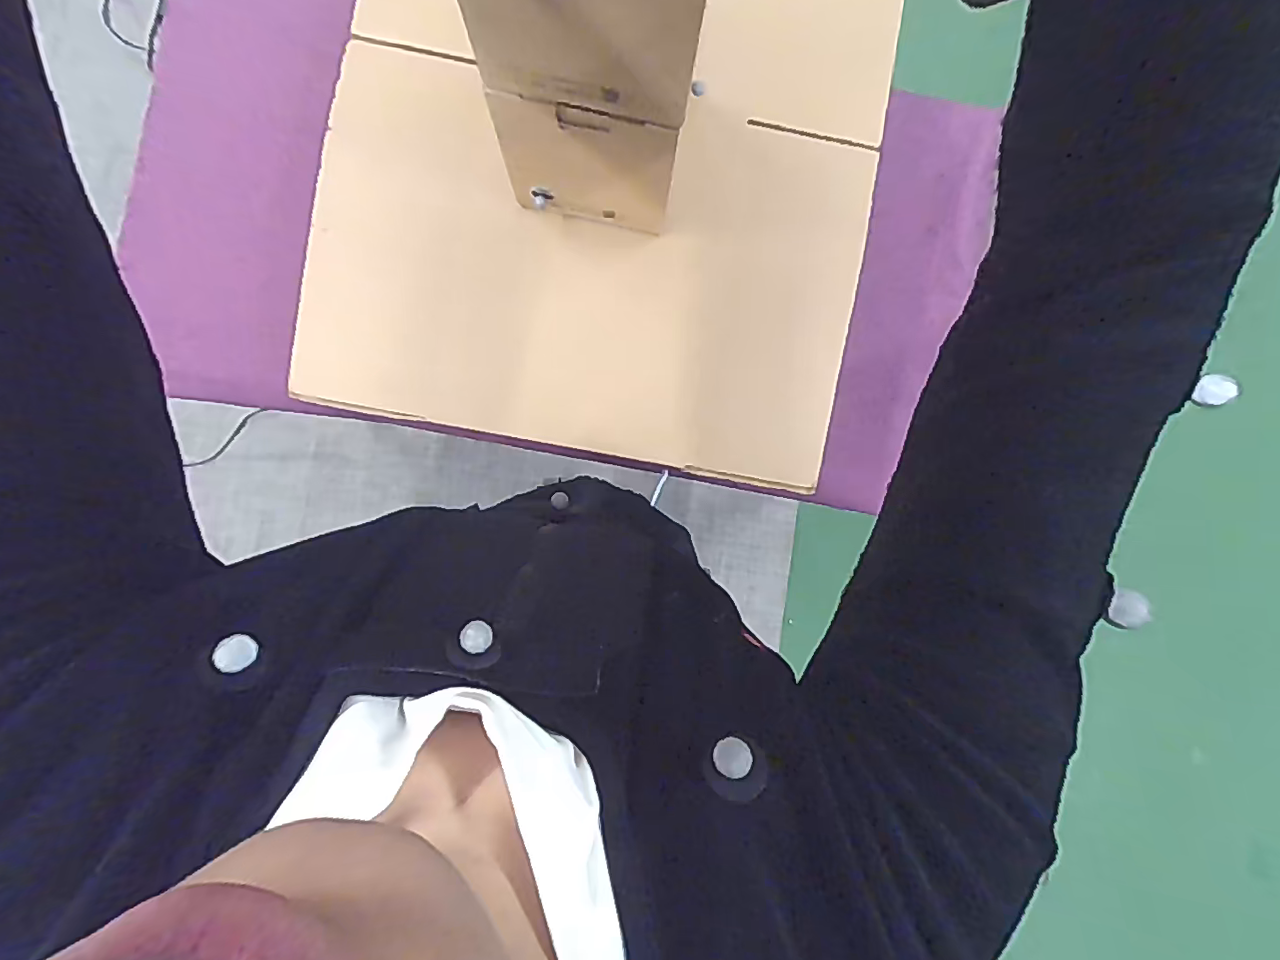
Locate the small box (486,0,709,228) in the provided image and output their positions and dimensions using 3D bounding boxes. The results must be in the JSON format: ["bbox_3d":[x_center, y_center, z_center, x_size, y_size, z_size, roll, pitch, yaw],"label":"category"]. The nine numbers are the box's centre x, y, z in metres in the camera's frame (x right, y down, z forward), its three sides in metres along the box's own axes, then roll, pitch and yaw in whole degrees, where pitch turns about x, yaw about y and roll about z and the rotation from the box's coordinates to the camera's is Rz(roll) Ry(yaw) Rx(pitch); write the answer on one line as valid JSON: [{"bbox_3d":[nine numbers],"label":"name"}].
[{"bbox_3d":[-0.033,-0.378,0.525,0.168,0.176,0.179,11,86,-3],"label":"small box"}]
